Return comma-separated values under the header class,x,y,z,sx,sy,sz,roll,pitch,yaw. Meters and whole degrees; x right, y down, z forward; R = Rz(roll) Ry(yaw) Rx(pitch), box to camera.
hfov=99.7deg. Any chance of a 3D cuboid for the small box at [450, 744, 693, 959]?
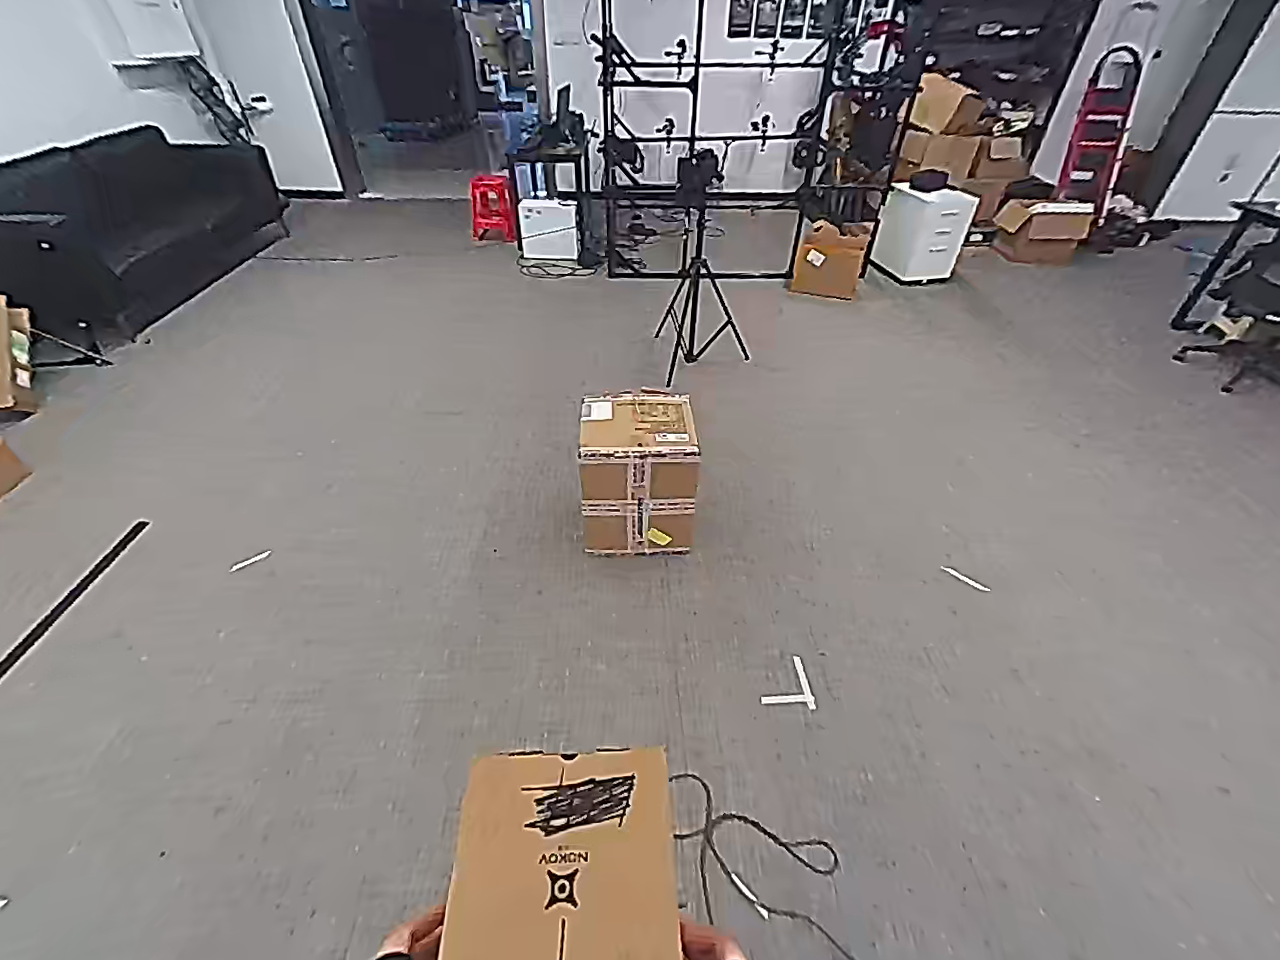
class,x,y,z,sx,sy,sz,roll,pitch,yaw
small box,-0.051,0.346,0.454,0.168,0.176,0.179,-2,44,-3
